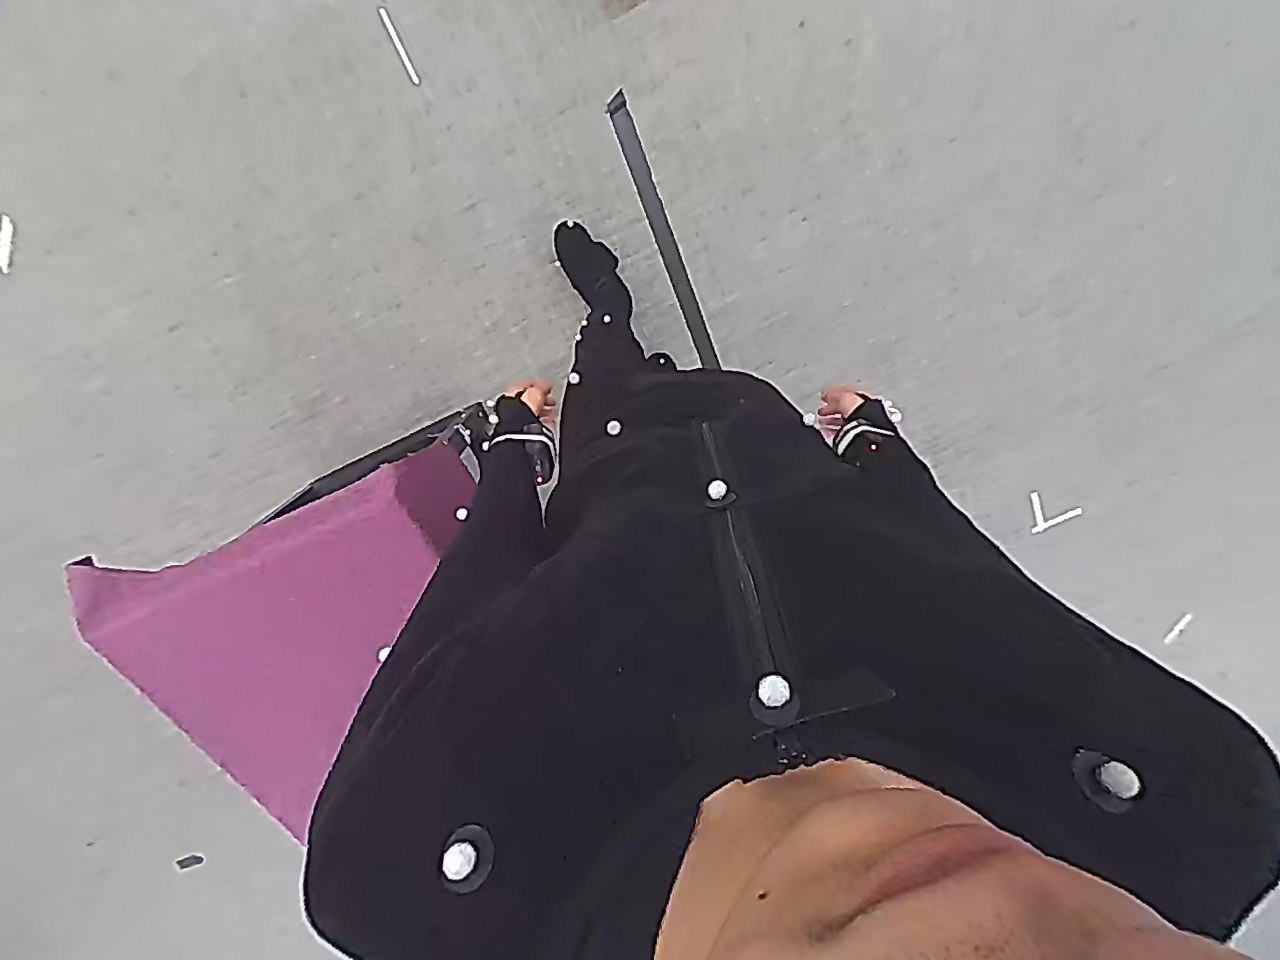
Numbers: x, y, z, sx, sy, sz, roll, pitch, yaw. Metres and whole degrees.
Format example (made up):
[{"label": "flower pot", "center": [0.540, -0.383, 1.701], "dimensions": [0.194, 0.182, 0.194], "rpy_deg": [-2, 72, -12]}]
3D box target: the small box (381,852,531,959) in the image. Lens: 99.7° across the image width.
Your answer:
[{"label": "small box", "center": [-0.298, 0.764, 0.888], "dimensions": [0.179, 0.176, 0.168], "rpy_deg": [-29, 111, 7]}]
